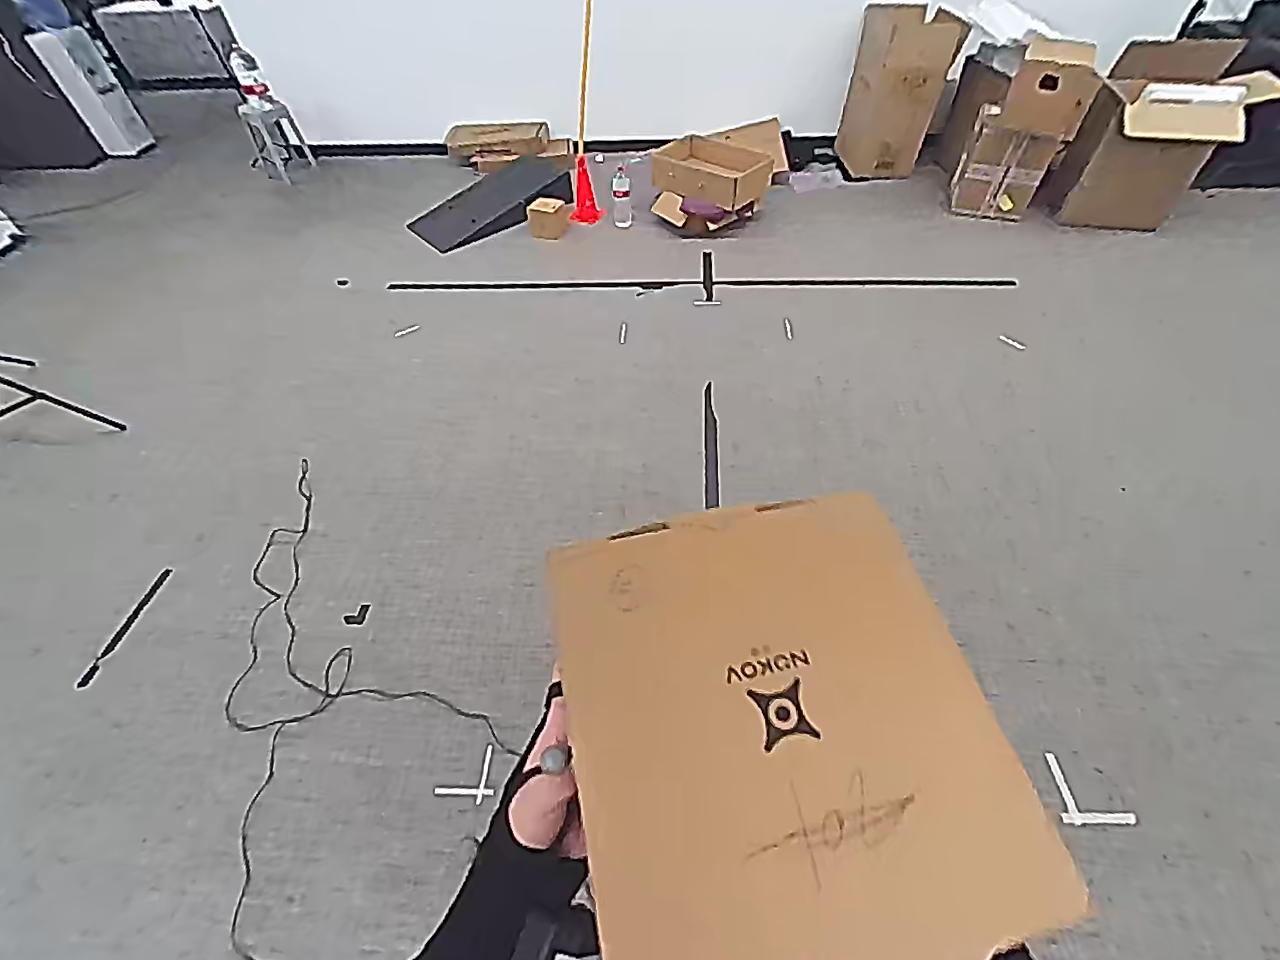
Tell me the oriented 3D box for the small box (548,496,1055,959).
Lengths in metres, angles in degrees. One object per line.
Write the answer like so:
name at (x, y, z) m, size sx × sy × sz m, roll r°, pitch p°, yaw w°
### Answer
small box at (0.050, 0.137, 0.295) m, size 0.168 × 0.176 × 0.179 m, roll -12°, pitch 59°, yaw -10°
